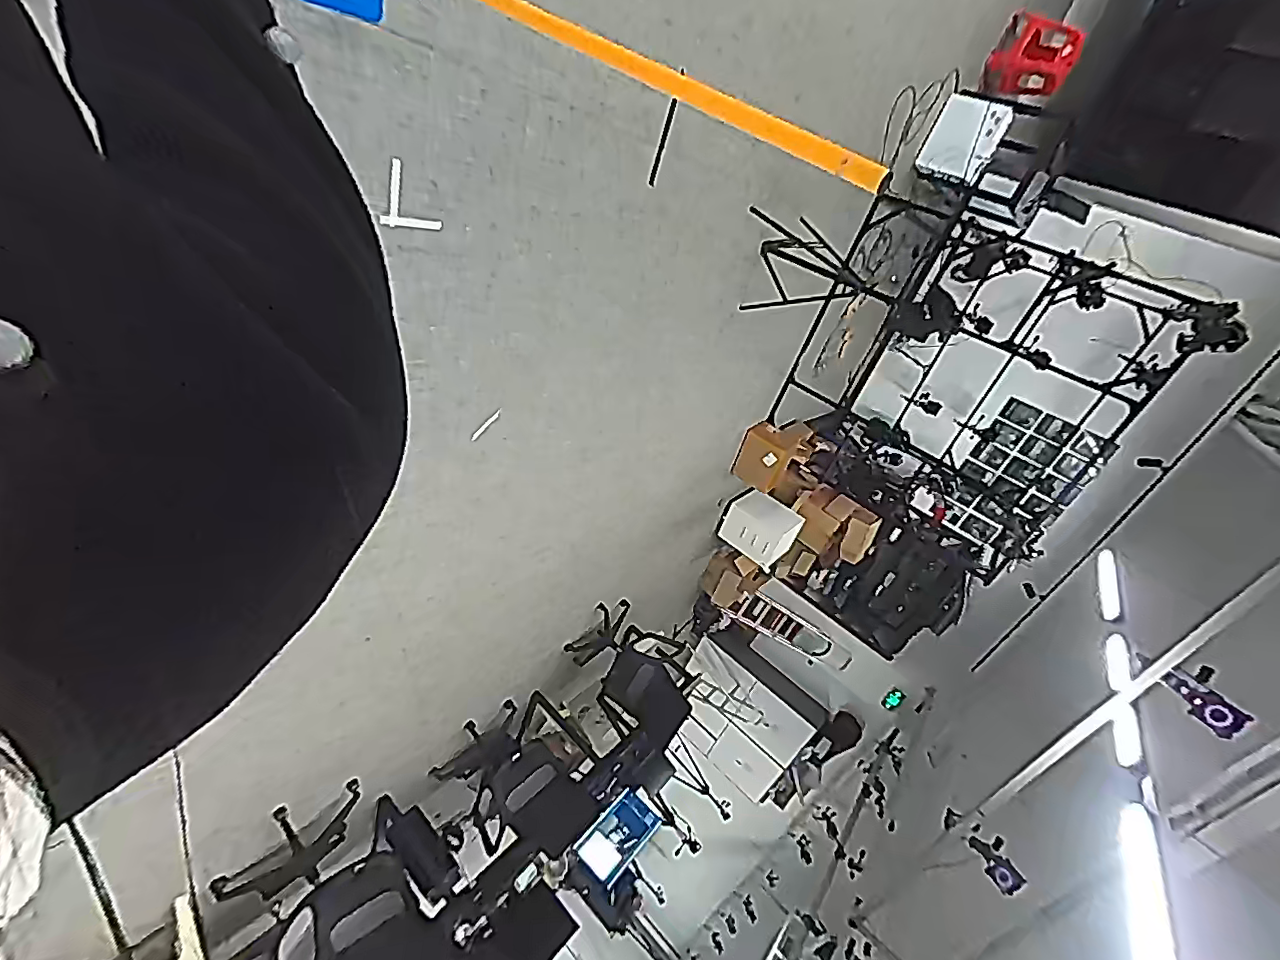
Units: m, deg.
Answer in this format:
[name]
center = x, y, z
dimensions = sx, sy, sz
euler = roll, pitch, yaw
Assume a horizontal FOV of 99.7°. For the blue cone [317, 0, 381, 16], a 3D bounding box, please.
[blue cone]
center = -0.462, -0.936, 0.961
dimensions = 0.193, 0.380, 0.192
euler = -25, 141, -47
